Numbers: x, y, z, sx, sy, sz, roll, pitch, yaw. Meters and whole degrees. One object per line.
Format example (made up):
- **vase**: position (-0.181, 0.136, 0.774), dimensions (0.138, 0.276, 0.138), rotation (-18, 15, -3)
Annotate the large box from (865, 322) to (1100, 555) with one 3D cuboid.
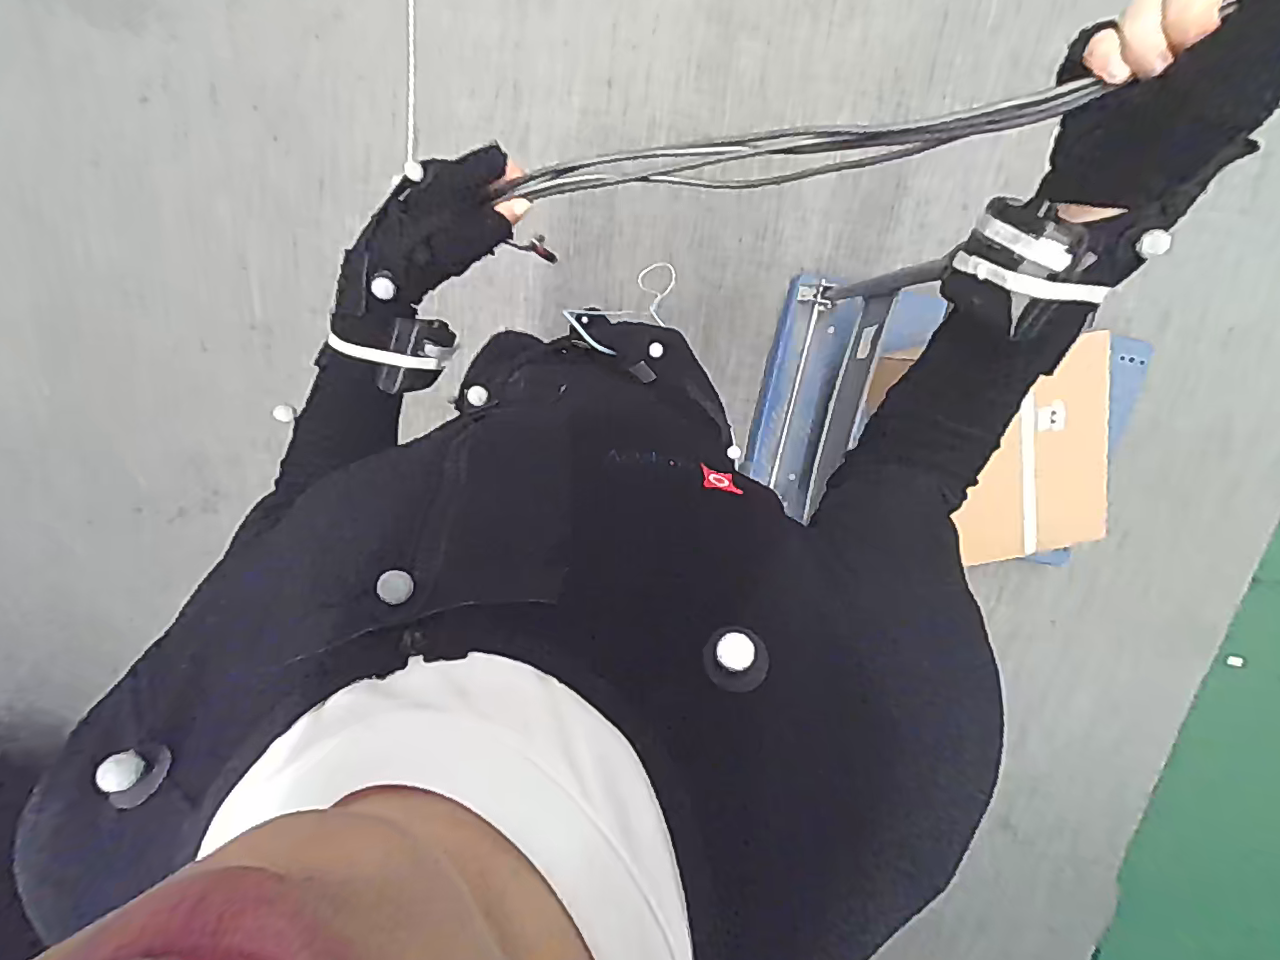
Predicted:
- **large box**: position (0.708, -0.102, 1.162), dimensions (0.320, 0.320, 0.408), rotation (-11, 105, 1)
